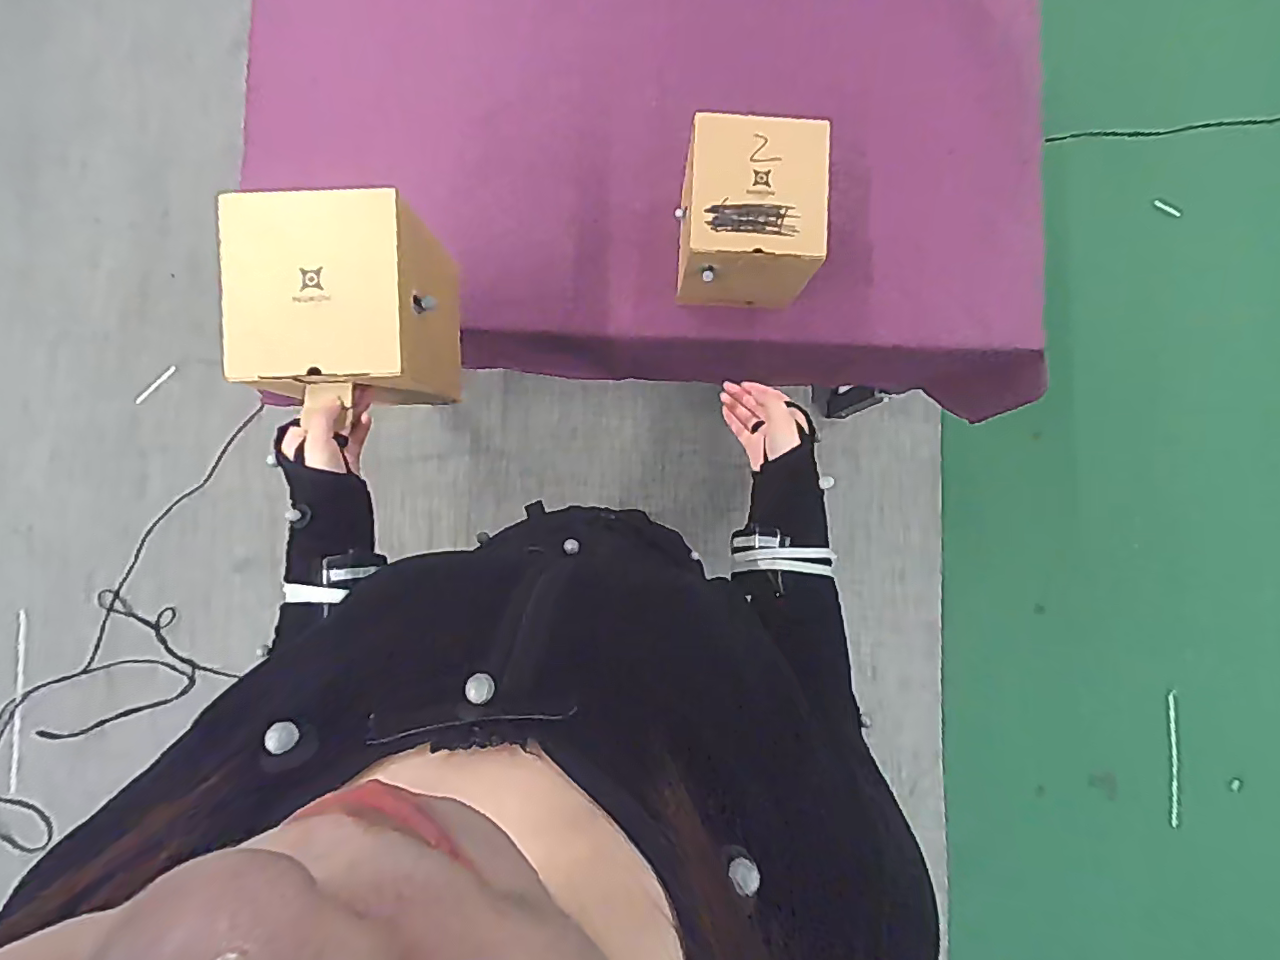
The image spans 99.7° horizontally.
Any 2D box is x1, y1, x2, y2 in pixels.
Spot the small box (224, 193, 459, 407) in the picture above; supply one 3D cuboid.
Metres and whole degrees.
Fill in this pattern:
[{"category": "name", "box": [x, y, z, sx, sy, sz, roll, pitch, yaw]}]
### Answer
[{"category": "small box", "box": [-0.301, -0.177, 0.579, 0.168, 0.176, 0.179, -1, 91, -1]}]
